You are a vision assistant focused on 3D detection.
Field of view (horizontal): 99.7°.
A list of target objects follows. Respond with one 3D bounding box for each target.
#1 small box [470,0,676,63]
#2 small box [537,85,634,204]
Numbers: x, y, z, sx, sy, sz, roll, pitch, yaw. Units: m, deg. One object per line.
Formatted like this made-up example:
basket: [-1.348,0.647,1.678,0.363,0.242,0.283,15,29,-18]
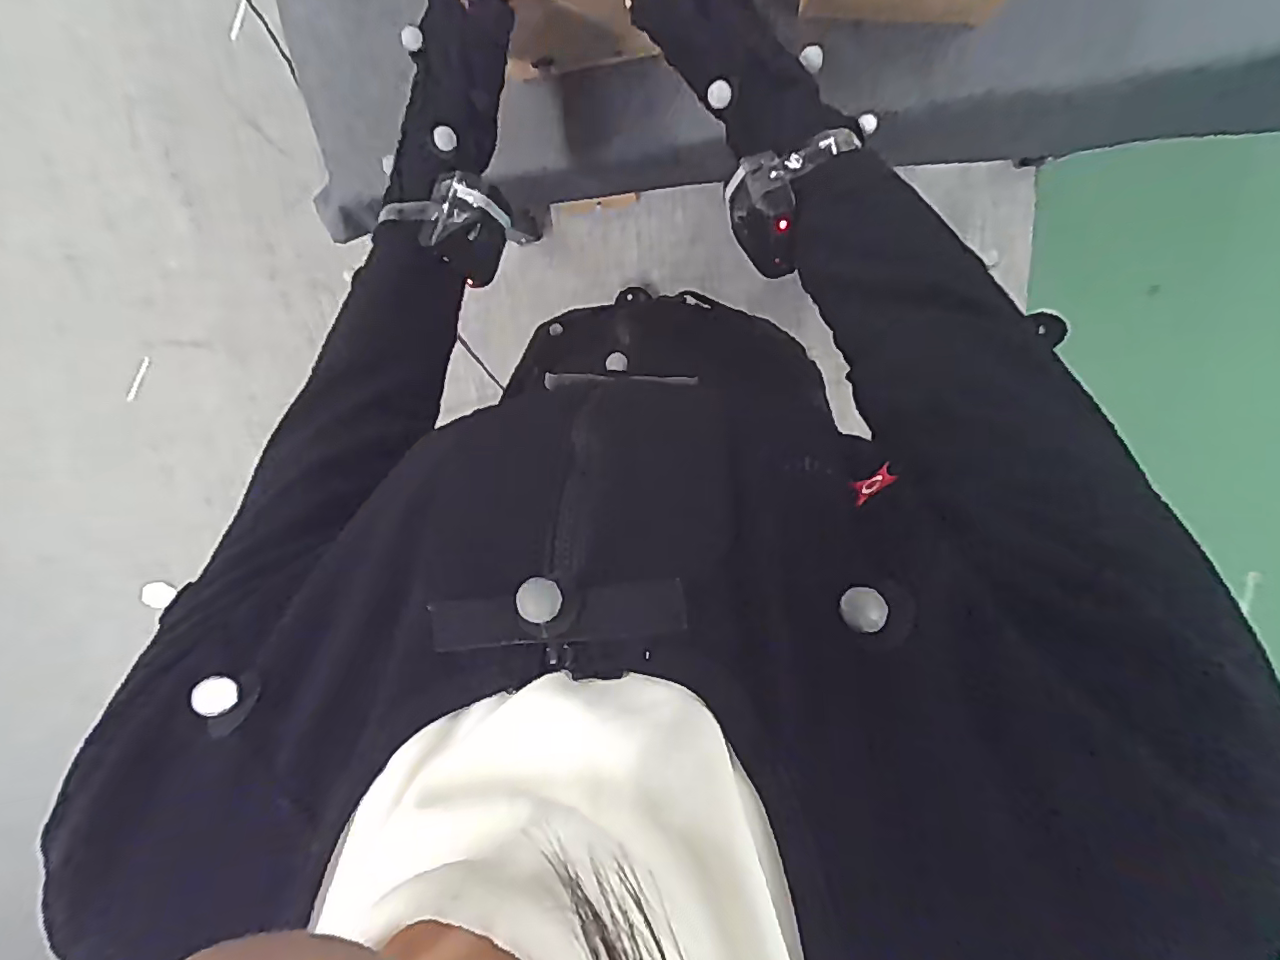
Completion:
small box: [-0.059,-0.477,0.440,0.168,0.176,0.179,-7,107,4]
small box: [-0.105,-0.693,1.141,0.168,0.176,0.179,-6,109,4]
